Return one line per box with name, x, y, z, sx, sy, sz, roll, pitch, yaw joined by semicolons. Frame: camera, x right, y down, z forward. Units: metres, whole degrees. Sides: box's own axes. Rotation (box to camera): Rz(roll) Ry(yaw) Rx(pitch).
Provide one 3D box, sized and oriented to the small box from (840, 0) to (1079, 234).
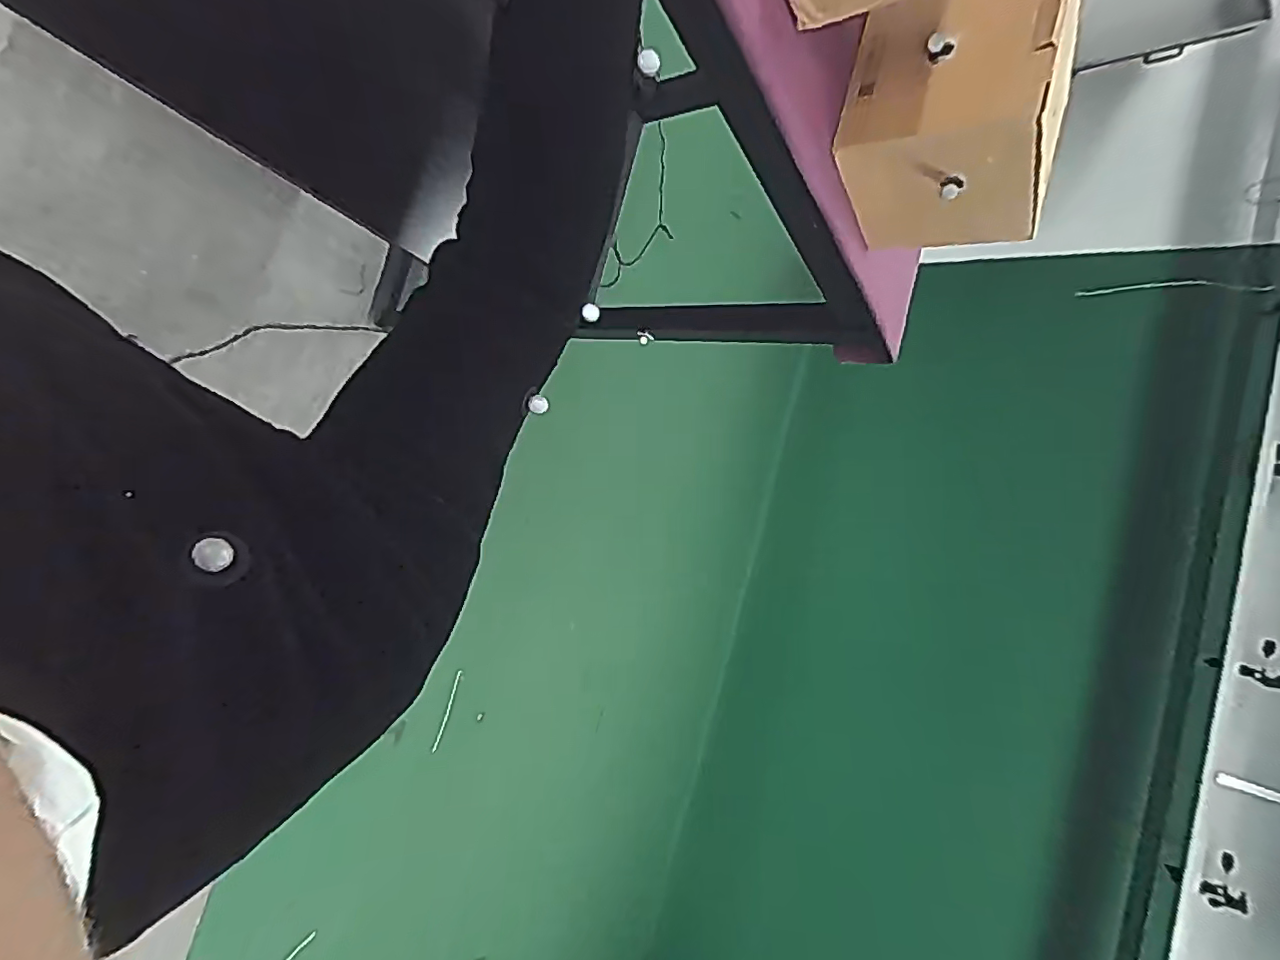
small box;0.317;-0.369;0.543;0.179;0.176;0.168;20;85;-53
